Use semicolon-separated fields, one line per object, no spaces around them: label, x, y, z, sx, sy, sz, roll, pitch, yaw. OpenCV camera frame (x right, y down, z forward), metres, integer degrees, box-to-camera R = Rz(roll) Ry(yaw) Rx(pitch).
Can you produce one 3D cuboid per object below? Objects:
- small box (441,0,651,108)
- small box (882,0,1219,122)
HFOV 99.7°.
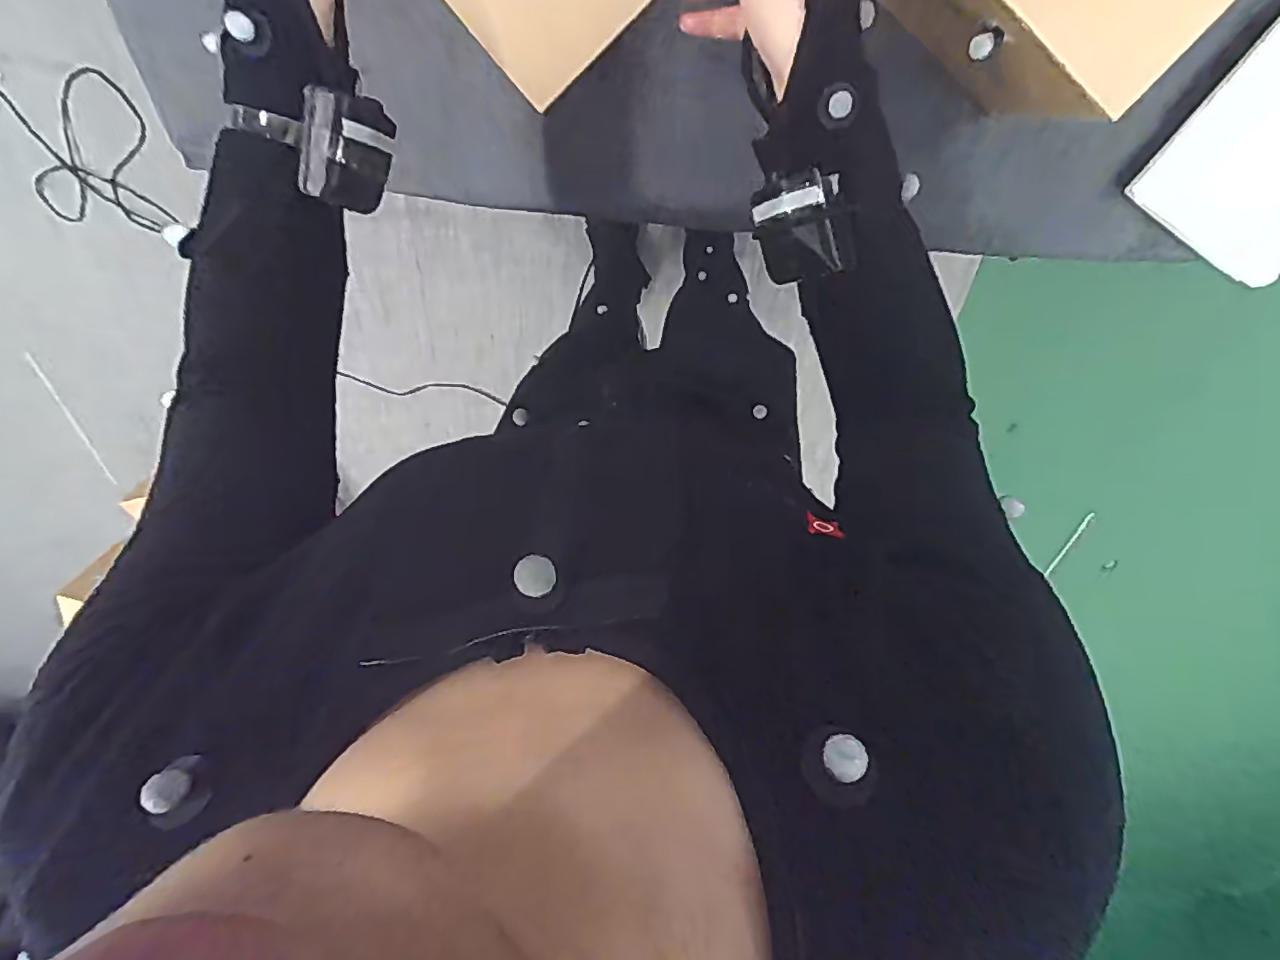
small box;-0.059;-0.396;0.337;0.168;0.176;0.179;-21;137;34
small box;0.288;-0.383;0.364;0.179;0.176;0.168;29;123;-16
